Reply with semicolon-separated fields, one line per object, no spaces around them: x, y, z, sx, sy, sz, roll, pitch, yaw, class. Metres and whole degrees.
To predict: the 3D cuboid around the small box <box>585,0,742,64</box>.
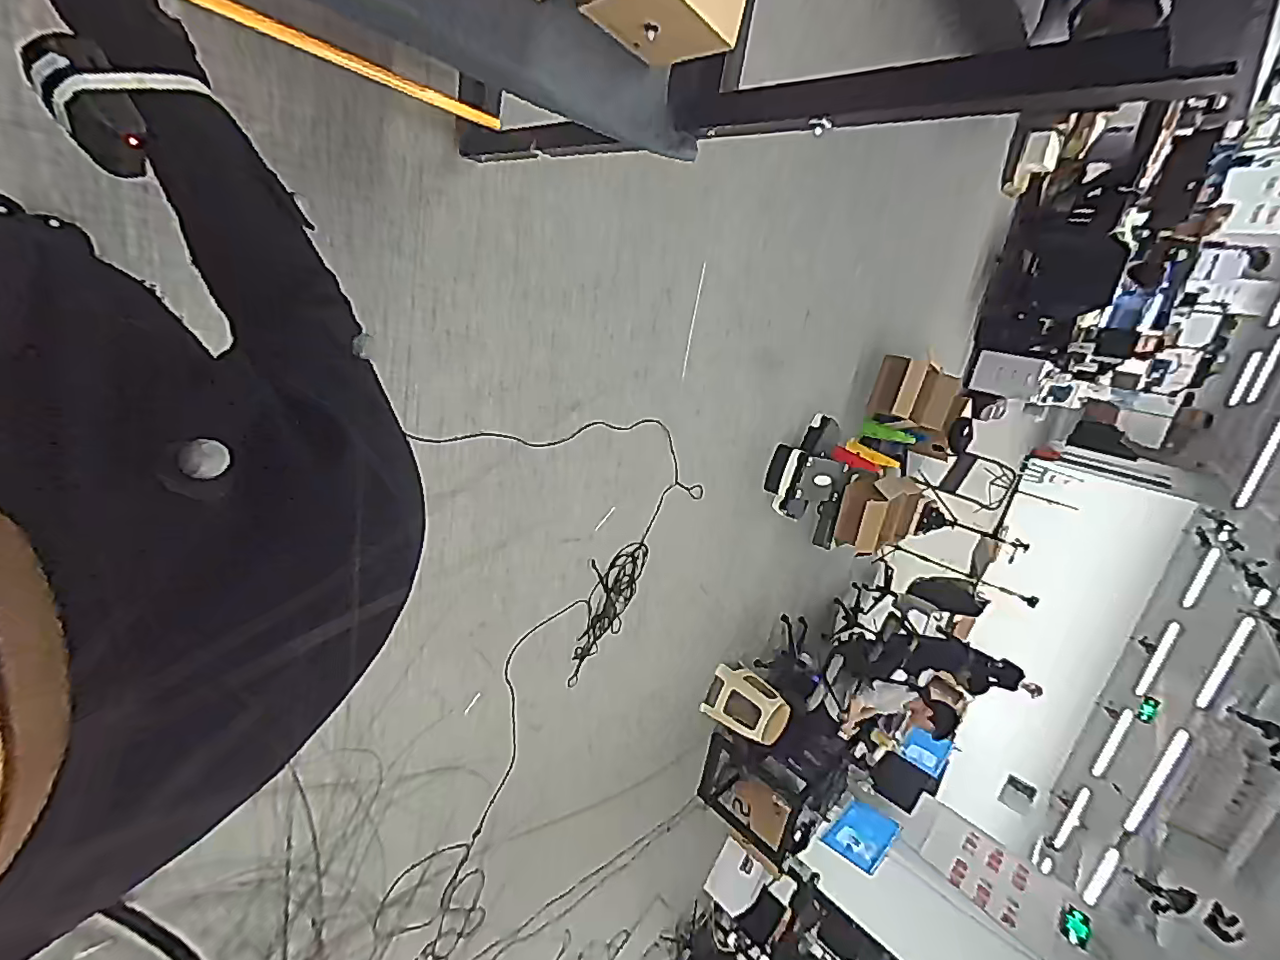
0.036;-0.723;0.752;0.168;0.176;0.179;-3;111;-48;small box
